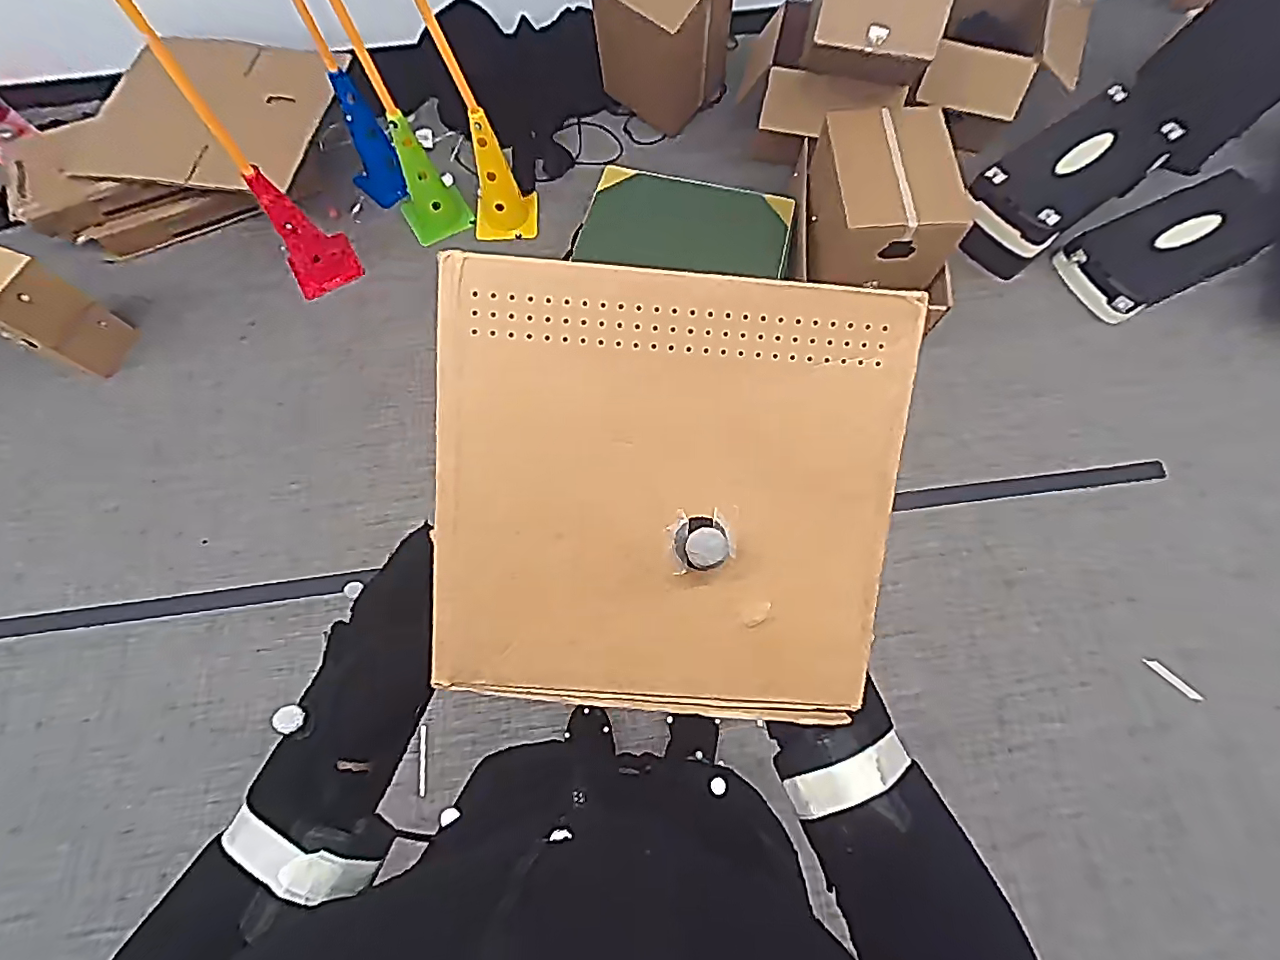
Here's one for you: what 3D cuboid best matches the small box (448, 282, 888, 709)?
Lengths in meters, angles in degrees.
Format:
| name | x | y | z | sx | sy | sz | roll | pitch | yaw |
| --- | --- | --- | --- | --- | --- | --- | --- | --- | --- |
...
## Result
| name | x | y | z | sx | sy | sz | roll | pitch | yaw |
| --- | --- | --- | --- | --- | --- | --- | --- | --- | --- |
| small box | 0.007 | -0.003 | 0.289 | 0.179 | 0.168 | 0.176 | 4 | 99 | -2 |
